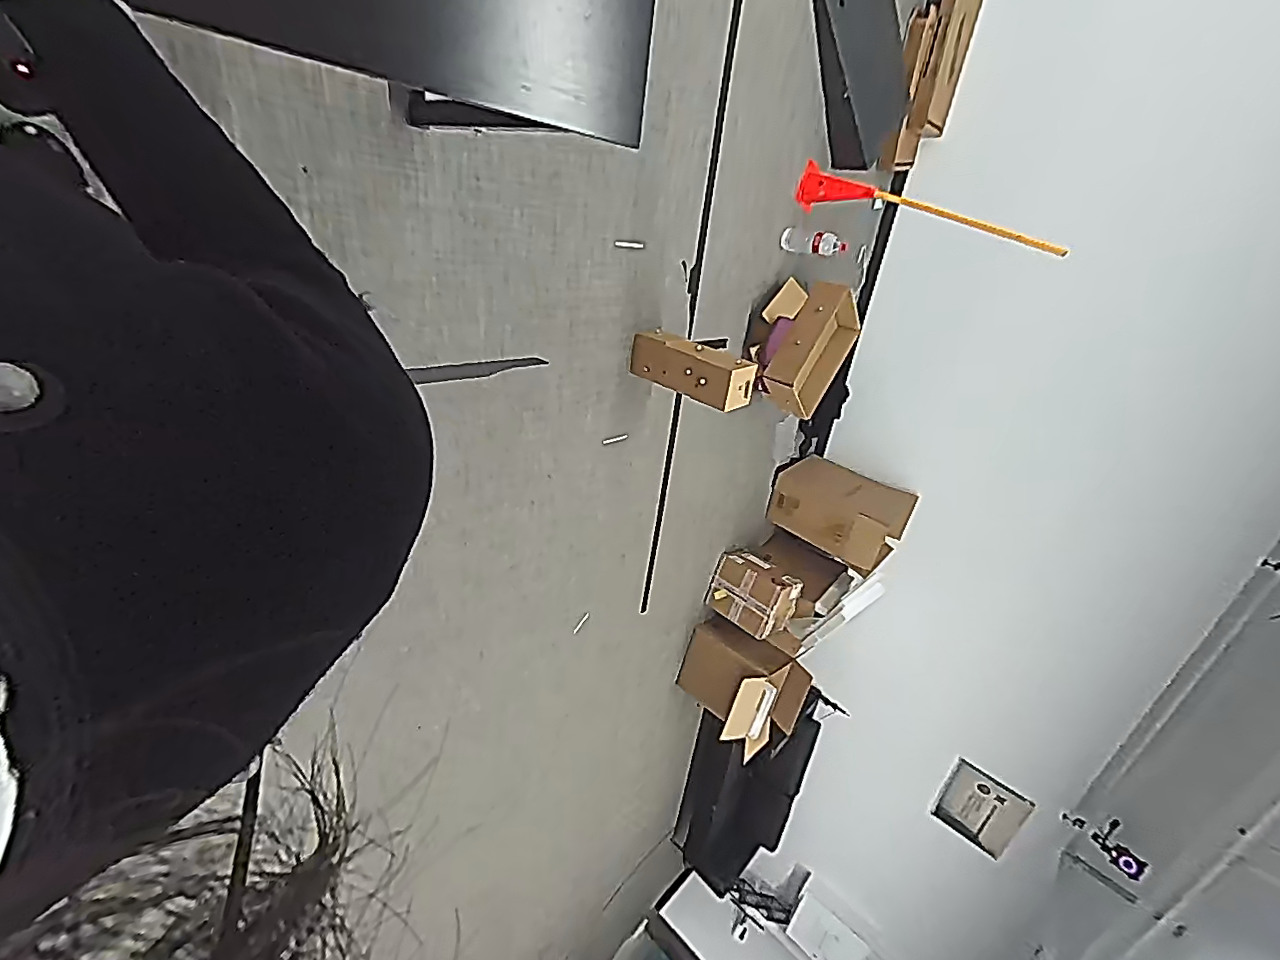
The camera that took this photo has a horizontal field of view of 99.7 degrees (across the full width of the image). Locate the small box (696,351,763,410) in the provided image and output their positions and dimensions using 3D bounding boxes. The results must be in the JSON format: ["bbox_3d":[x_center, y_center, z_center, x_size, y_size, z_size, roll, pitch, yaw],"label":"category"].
[{"bbox_3d":[0.343,-0.388,2.078,0.179,0.176,0.168,-22,129,-42],"label":"small box"}]

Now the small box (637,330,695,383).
[{"bbox_3d":[0.106,-0.521,2.263,0.168,0.176,0.179,-21,128,-44],"label":"small box"}]

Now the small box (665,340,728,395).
[{"bbox_3d":[0.223,-0.456,2.170,0.179,0.176,0.168,-24,130,-43],"label":"small box"}]
